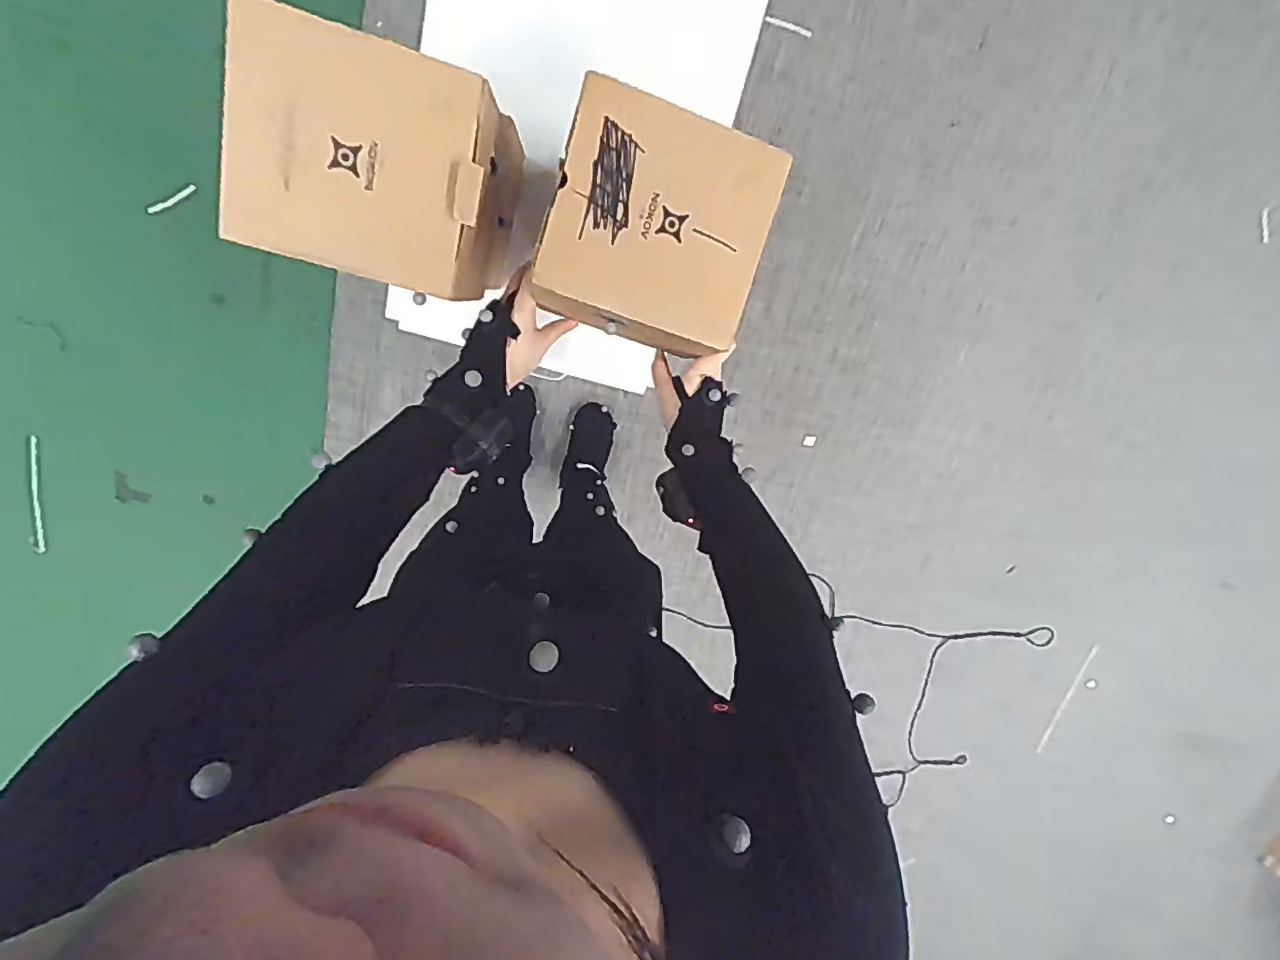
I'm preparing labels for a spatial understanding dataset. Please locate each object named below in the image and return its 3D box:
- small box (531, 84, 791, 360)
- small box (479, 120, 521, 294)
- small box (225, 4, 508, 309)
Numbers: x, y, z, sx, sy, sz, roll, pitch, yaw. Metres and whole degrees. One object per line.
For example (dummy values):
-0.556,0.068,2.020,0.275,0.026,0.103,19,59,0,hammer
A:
0.008,-0.217,0.515,0.179,0.176,0.168,17,98,-11,small box
-0.240,-0.326,0.633,0.168,0.176,0.179,13,106,-13,small box
-0.224,-0.260,0.485,0.179,0.176,0.168,13,105,-11,small box
